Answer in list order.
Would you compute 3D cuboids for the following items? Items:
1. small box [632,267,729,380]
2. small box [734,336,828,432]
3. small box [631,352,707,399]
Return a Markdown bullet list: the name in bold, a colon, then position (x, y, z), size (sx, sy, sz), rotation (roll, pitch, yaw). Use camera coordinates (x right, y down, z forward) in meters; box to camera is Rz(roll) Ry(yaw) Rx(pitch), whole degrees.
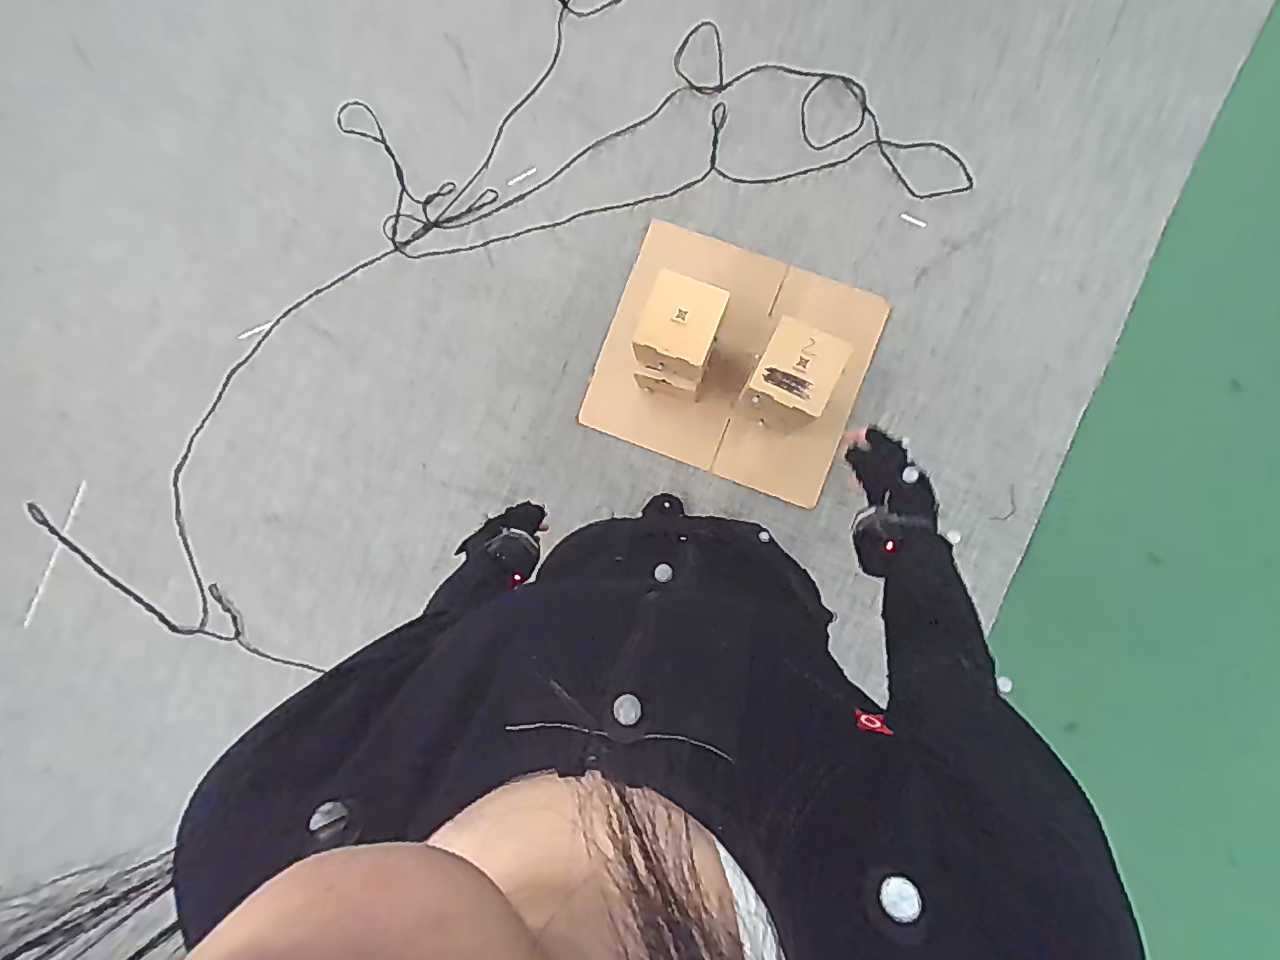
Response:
- **small box**: position (0.090, -0.350, 1.243), size (0.168, 0.176, 0.179), rotation (21, 90, 4)
- **small box**: position (0.352, -0.238, 1.389), size (0.168, 0.176, 0.179), rotation (26, 91, 5)
- **small box**: position (0.086, -0.322, 1.406), size (0.168, 0.176, 0.179), rotation (18, 90, 4)
